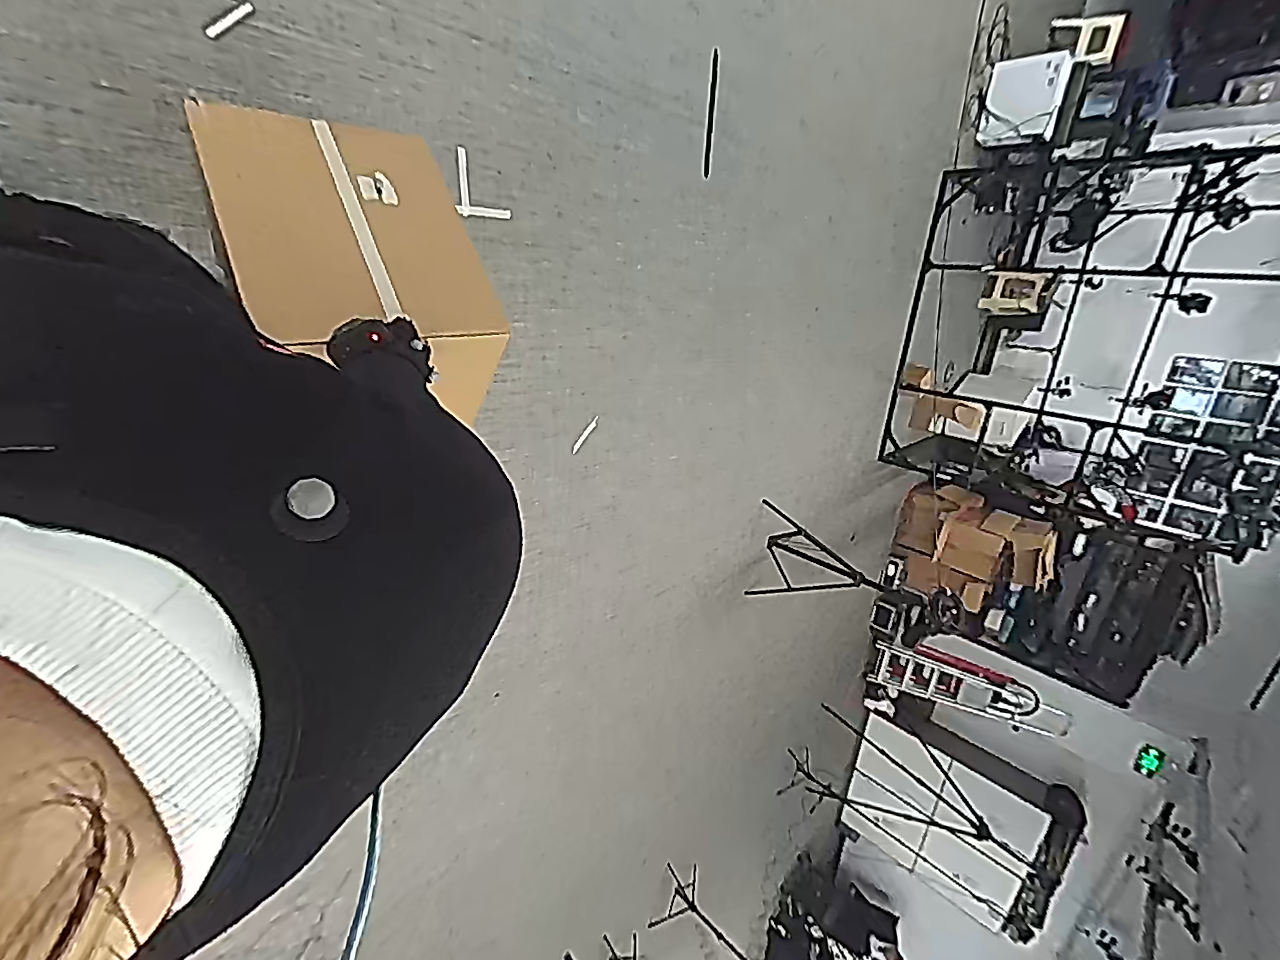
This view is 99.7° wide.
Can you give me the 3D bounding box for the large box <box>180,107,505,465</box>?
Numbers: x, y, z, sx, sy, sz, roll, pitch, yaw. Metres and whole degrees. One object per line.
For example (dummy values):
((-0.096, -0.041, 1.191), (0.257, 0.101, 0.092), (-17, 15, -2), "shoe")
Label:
((-0.469, -0.290, 0.869), (0.320, 0.408, 0.320), (-16, 162, -38), "large box")
